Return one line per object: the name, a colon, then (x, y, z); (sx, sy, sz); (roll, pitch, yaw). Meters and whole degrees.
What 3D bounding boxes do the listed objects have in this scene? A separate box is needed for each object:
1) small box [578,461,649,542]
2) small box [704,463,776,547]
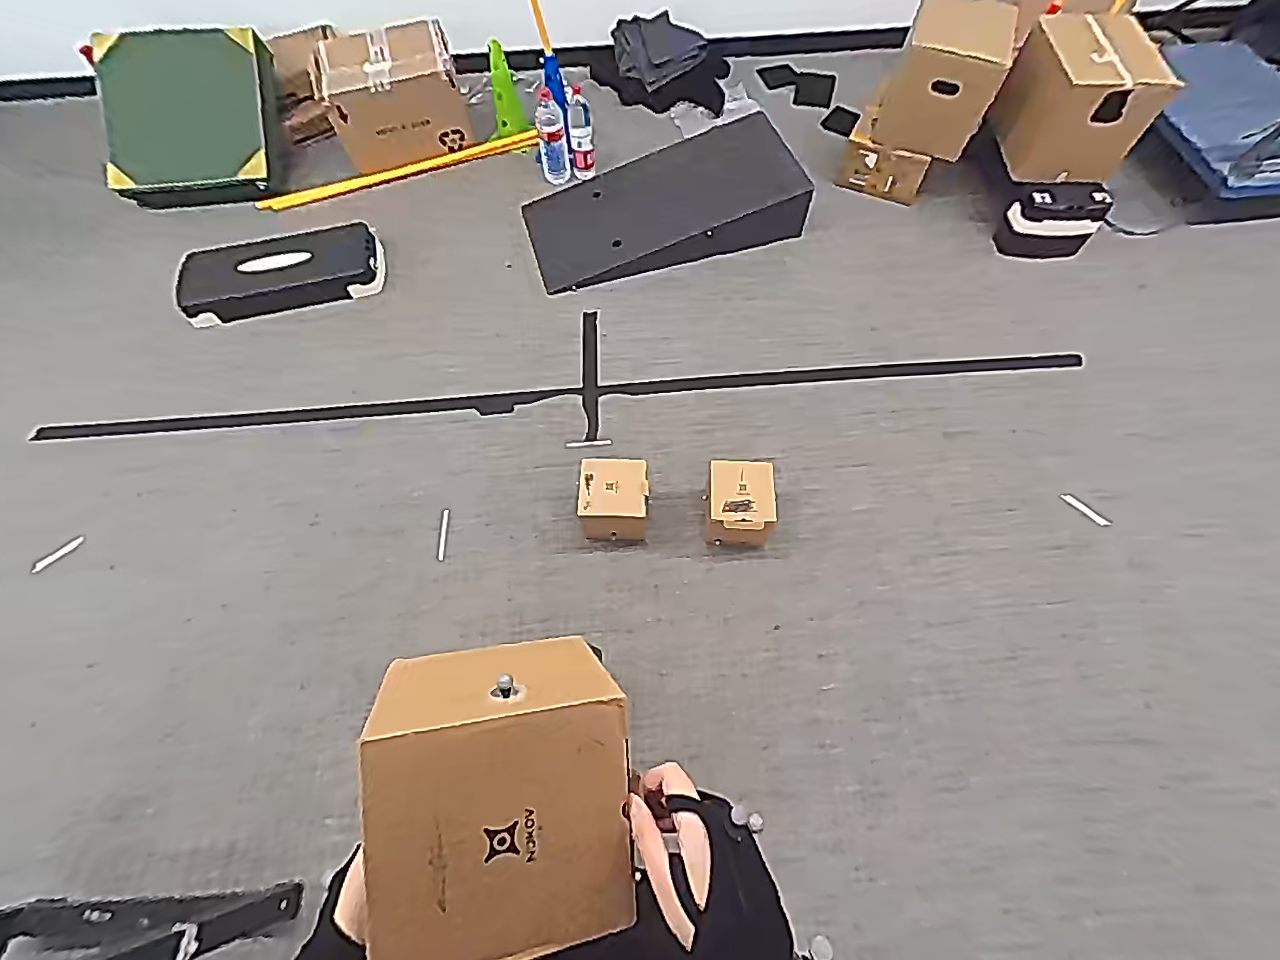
small box: (-0.068, 0.063, 1.463); (0.179, 0.176, 0.168); (2, 63, 1)
small box: (0.264, 0.072, 1.455); (0.168, 0.176, 0.179); (3, 62, 2)
